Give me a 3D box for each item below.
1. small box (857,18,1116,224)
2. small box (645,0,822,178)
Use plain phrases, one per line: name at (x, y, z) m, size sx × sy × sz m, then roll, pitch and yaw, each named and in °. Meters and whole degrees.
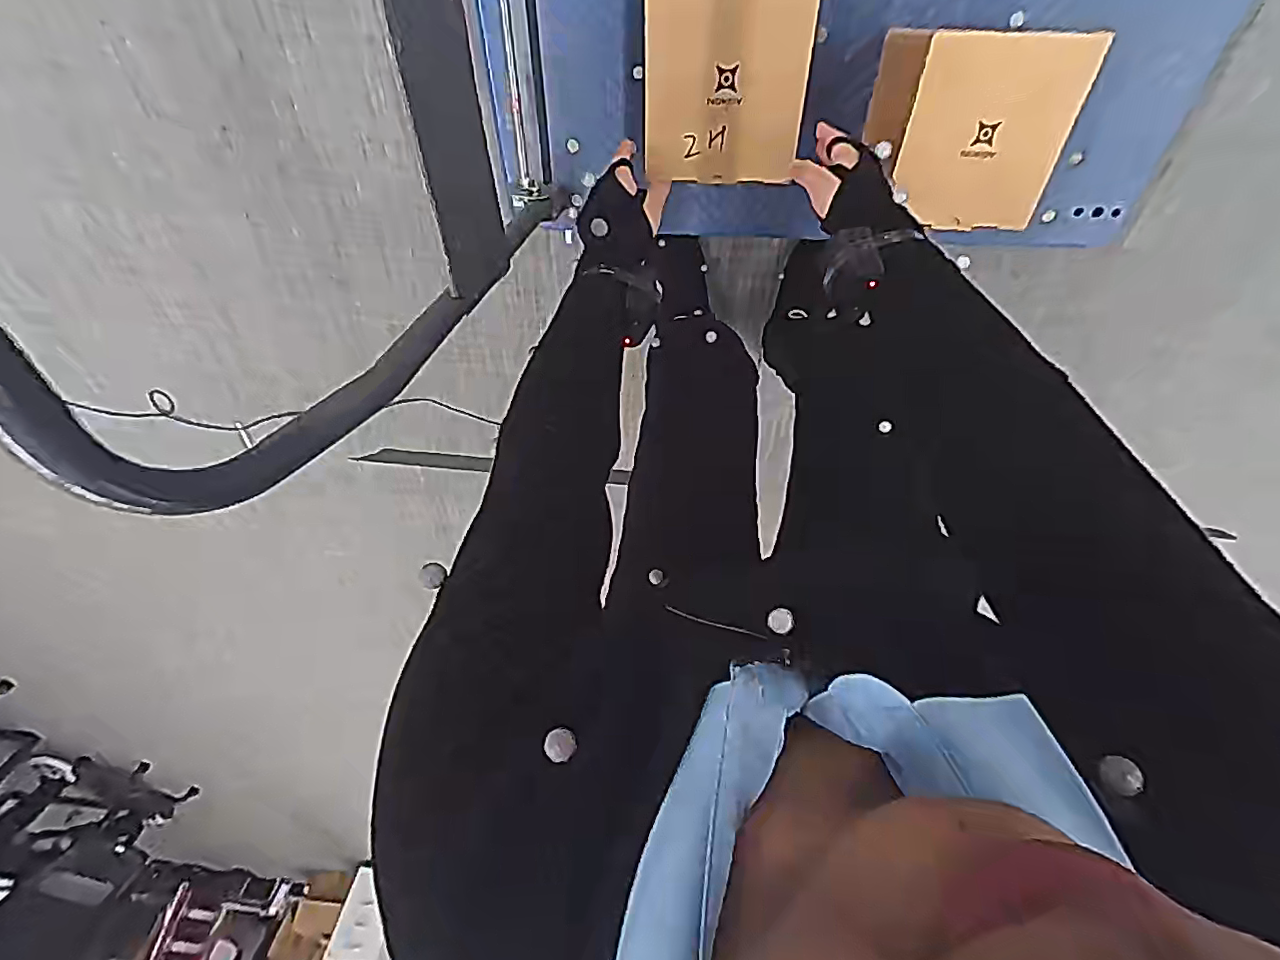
small box at (0.363, -0.410, 0.615) m, size 0.168 × 0.176 × 0.179 m, roll 4°, pitch 132°, yaw 4°
small box at (0.094, -0.456, 0.605) m, size 0.168 × 0.176 × 0.179 m, roll 3°, pitch 132°, yaw 5°
